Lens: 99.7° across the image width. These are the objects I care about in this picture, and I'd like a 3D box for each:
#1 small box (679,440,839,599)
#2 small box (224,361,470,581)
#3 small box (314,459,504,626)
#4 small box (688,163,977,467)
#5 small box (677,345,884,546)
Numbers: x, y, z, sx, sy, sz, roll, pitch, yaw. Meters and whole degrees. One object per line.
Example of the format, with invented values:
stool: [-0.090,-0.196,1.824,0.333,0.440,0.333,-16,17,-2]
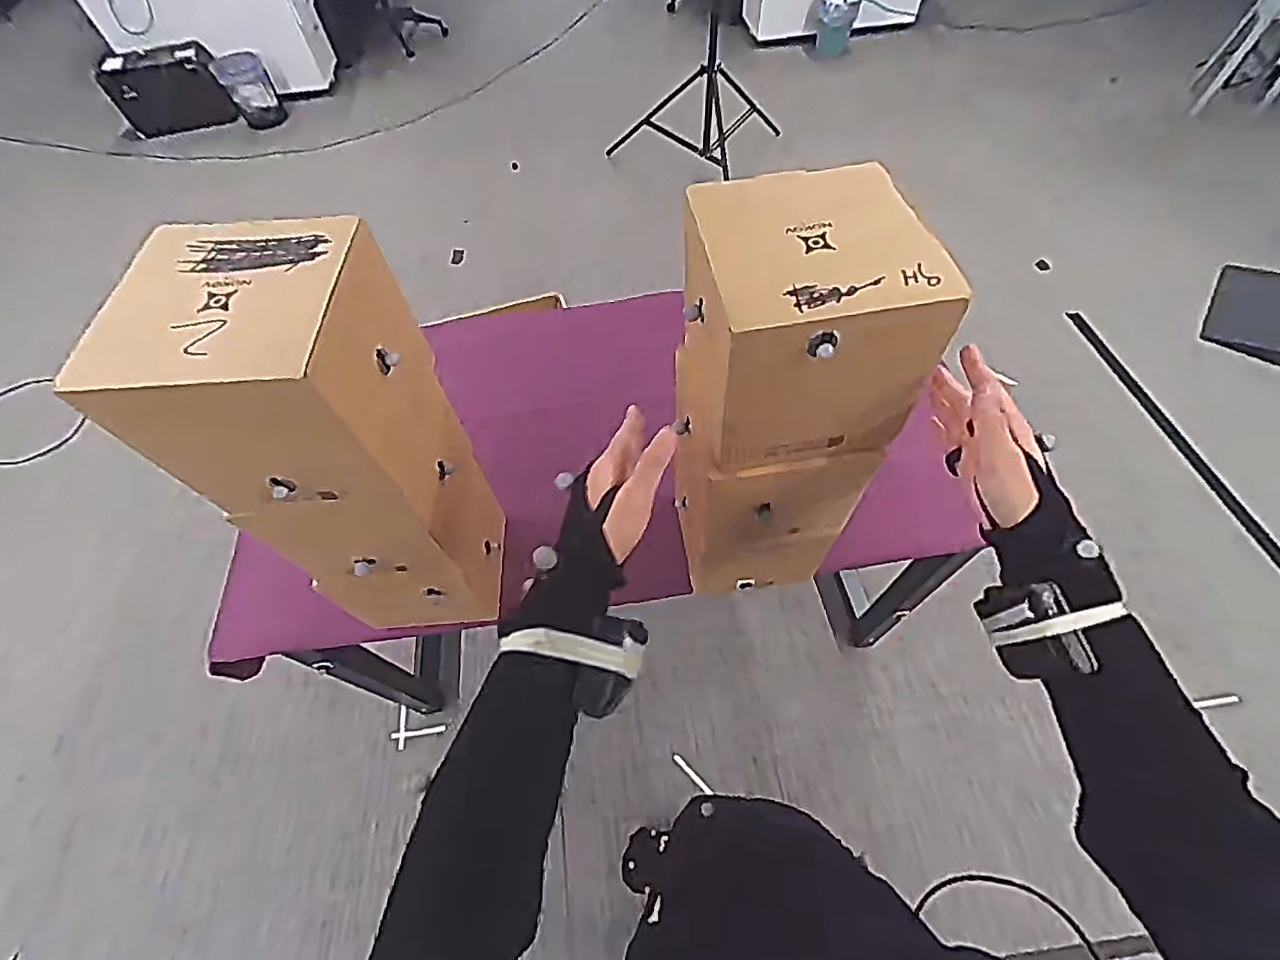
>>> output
small box: [0.145,0.044,0.737,0.168,0.176,0.179,-8,59,-1]
small box: [-0.295,-0.005,0.595,0.168,0.176,0.179,-5,59,-1]
small box: [-0.290,0.089,0.729,0.179,0.176,0.168,-5,58,0]
small box: [0.135,-0.135,0.464,0.168,0.176,0.179,-9,57,-1]
small box: [0.137,-0.039,0.597,0.168,0.176,0.179,-9,58,-1]
